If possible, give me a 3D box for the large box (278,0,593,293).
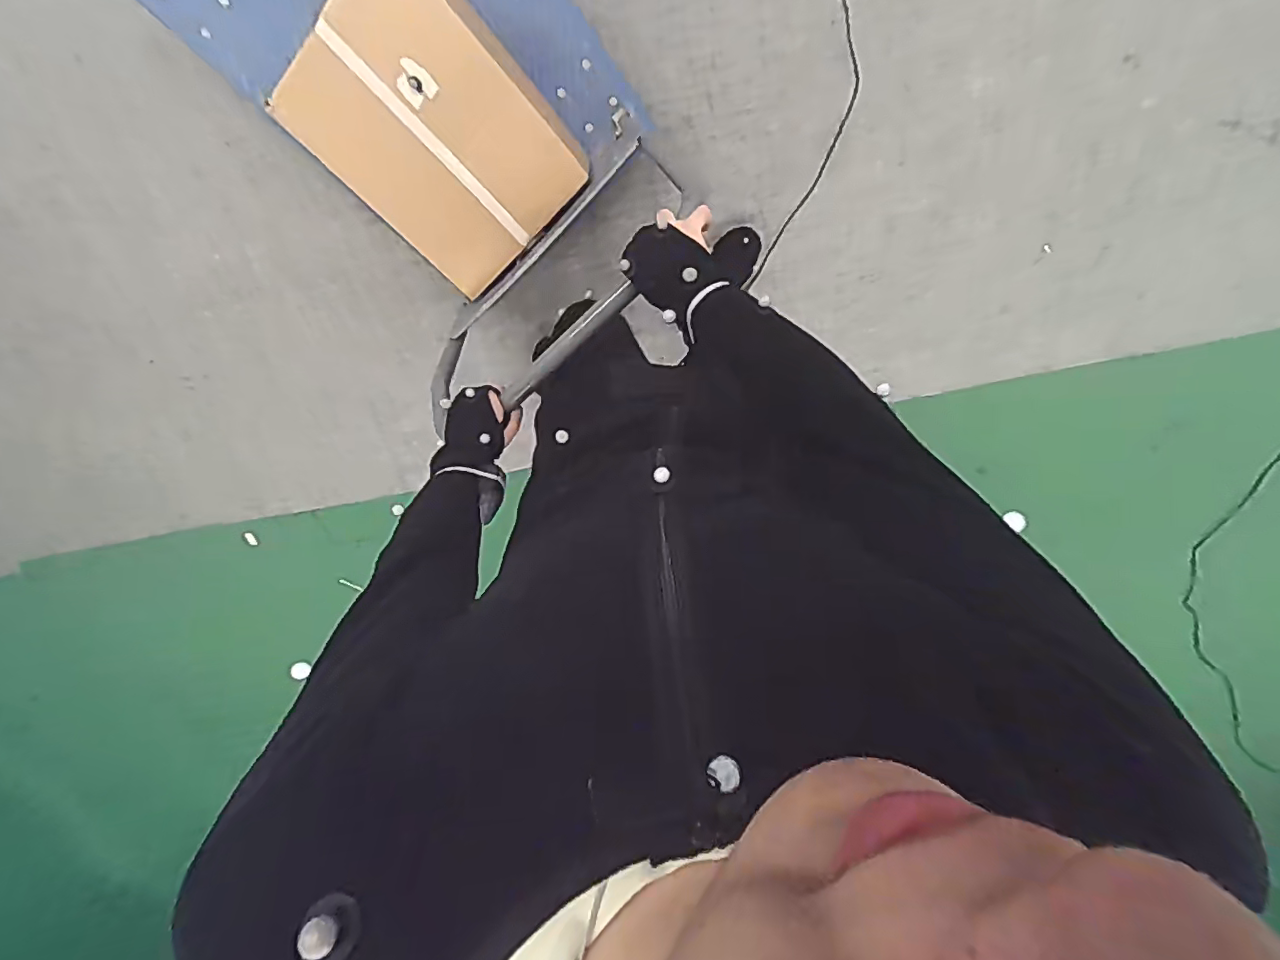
[{"bbox_3d":[-0.336,-0.638,1.009,0.320,0.320,0.408,-38,119,20],"label":"large box"}]
